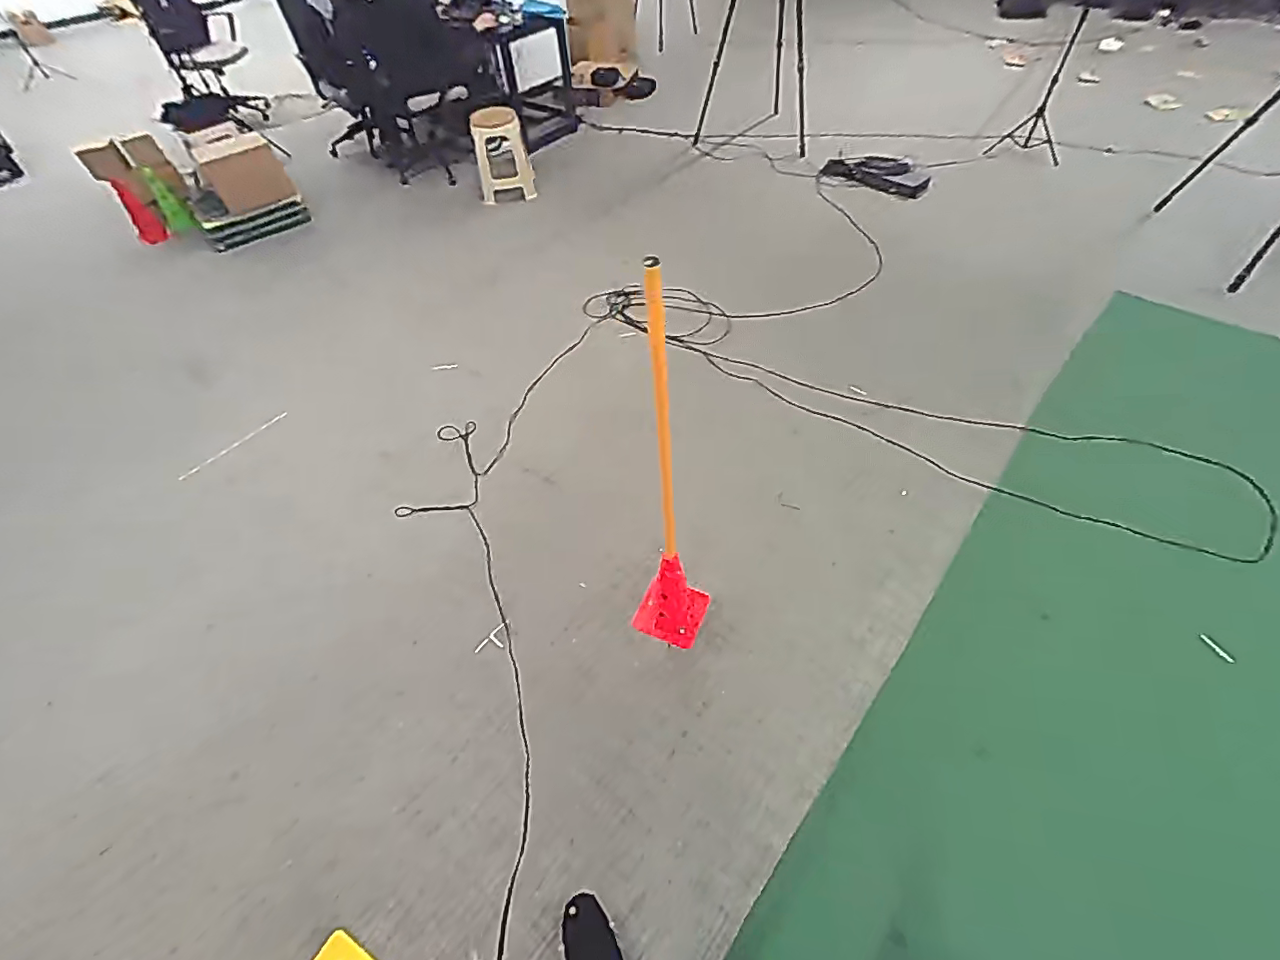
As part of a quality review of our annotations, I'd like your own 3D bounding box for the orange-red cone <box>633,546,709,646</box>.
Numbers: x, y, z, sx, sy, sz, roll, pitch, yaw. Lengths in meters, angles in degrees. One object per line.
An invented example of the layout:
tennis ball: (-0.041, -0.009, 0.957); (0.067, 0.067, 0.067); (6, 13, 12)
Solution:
orange-red cone: (0.091, 0.300, 1.573); (0.198, 0.360, 0.199); (19, 54, 18)
